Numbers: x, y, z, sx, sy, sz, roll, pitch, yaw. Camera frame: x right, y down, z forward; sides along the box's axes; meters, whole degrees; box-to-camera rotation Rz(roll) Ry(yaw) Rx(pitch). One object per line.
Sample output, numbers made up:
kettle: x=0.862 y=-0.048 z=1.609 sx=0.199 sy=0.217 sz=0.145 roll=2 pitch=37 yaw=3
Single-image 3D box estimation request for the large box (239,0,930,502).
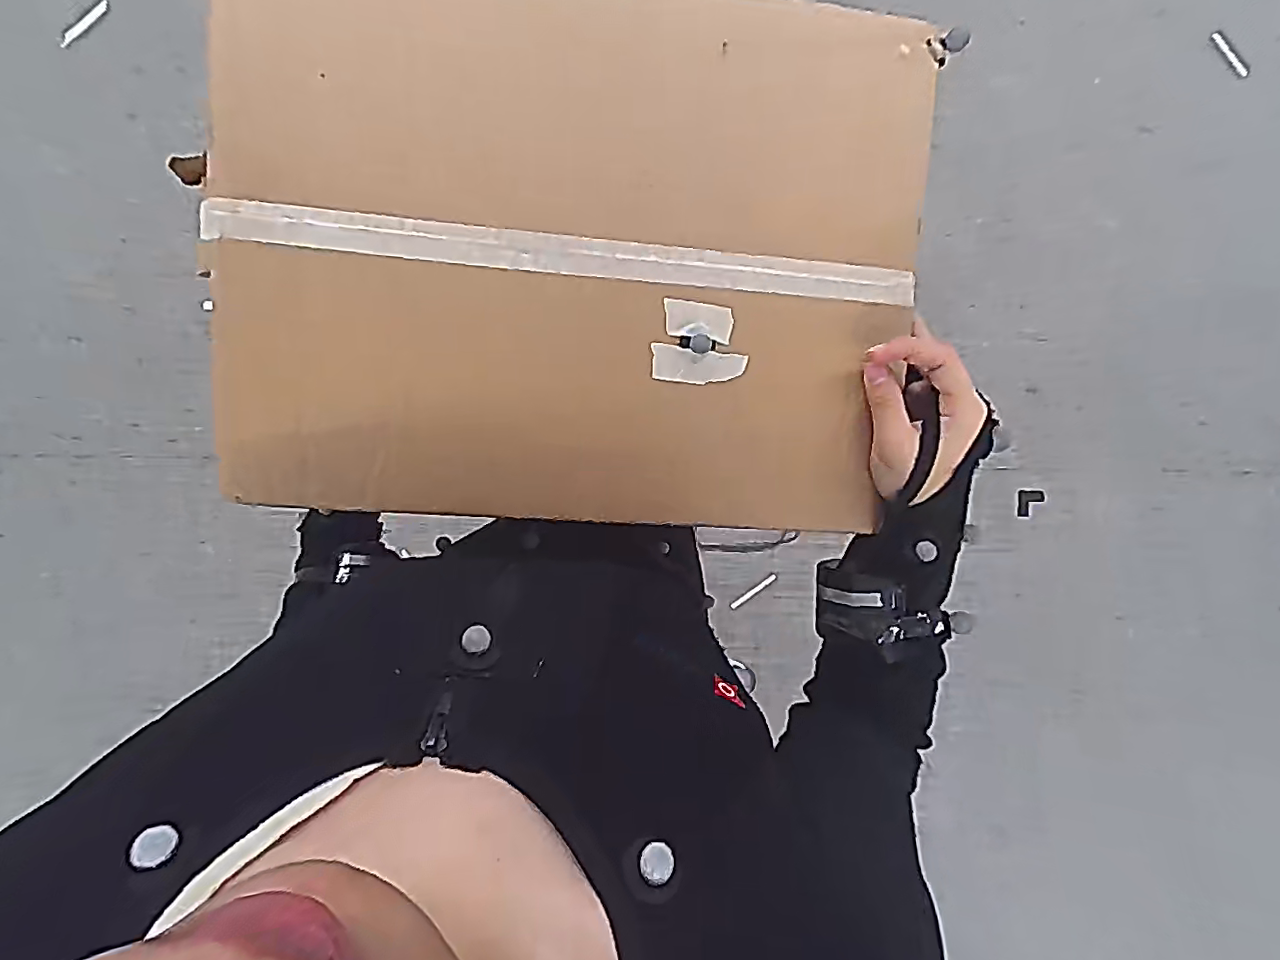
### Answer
large box: x=-0.044 y=-0.161 z=0.470 sx=0.408 sy=0.320 sz=0.320 roll=3 pitch=97 yaw=-9
